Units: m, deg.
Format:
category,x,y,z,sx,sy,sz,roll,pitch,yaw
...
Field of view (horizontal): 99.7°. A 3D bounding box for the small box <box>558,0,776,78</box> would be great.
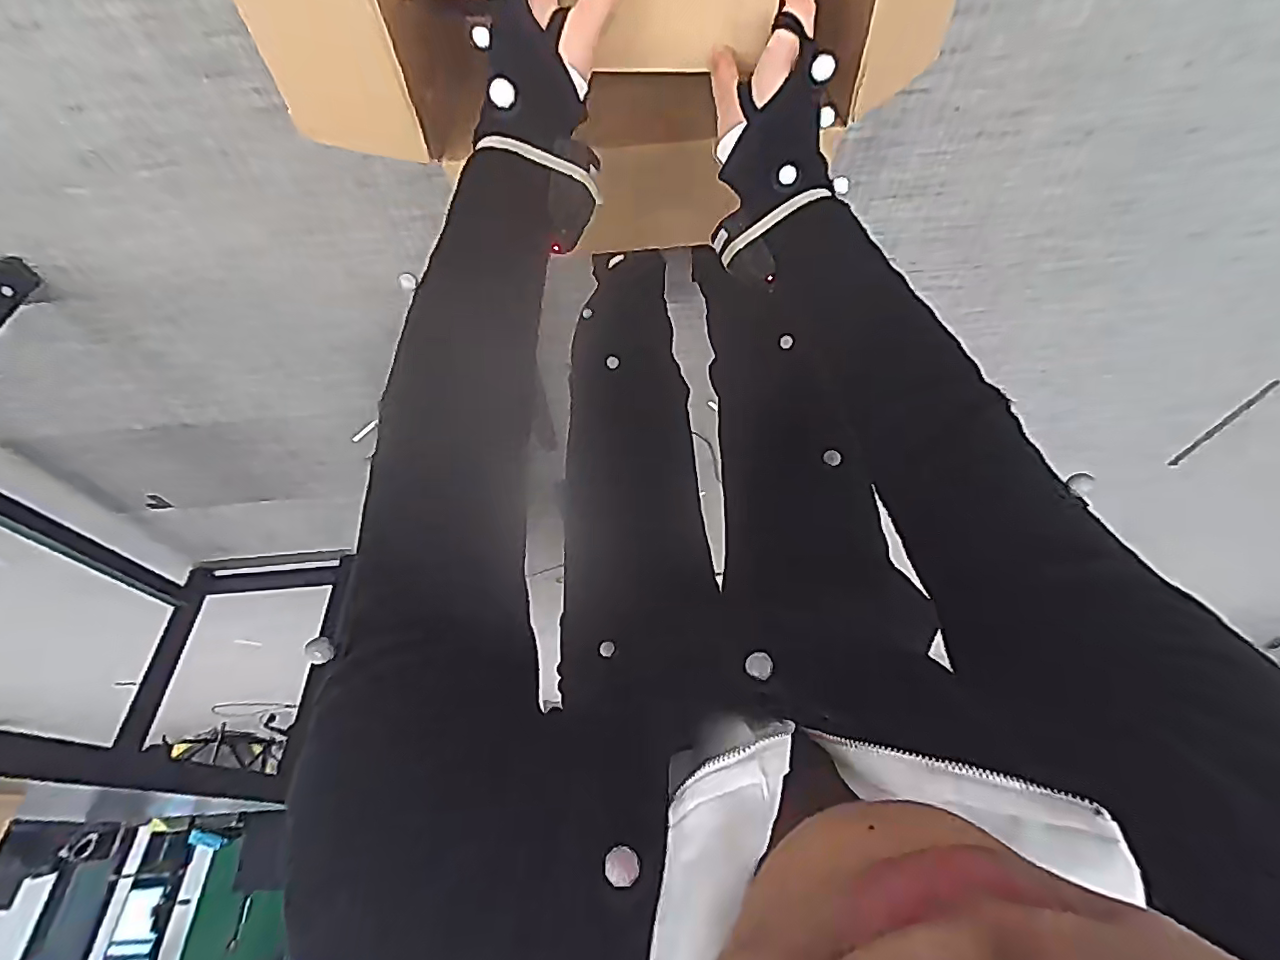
category,x,y,z,sx,sy,sz,roll,pitch,yaw
small box,0.030,-0.443,0.413,0.168,0.176,0.179,5,144,6
